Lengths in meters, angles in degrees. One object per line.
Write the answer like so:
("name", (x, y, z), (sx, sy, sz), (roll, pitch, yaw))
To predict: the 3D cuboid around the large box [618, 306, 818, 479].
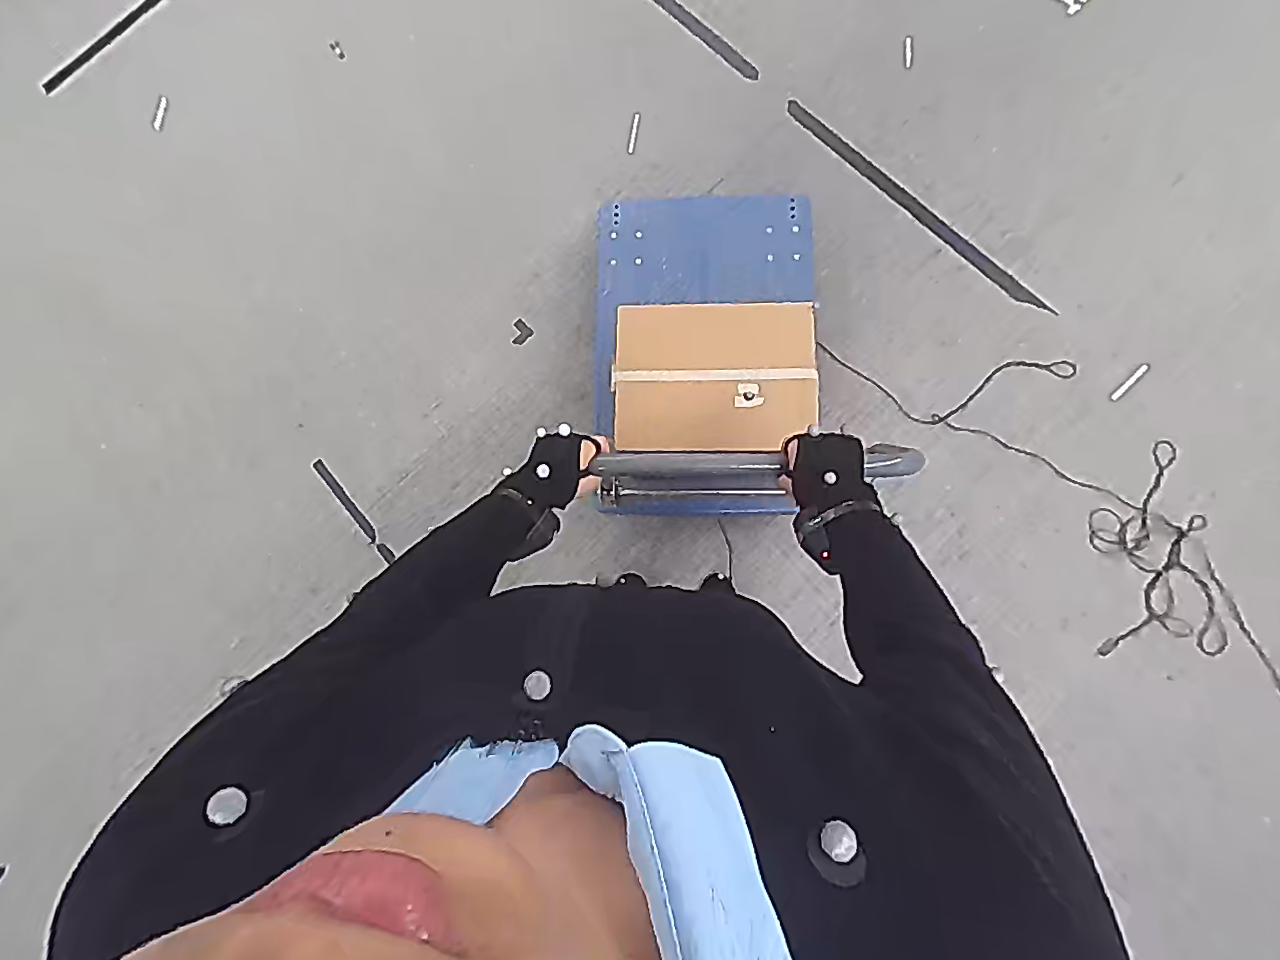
("large box", (0.159, -0.182, 1.246), (0.408, 0.320, 0.320), (0, 81, 3))
